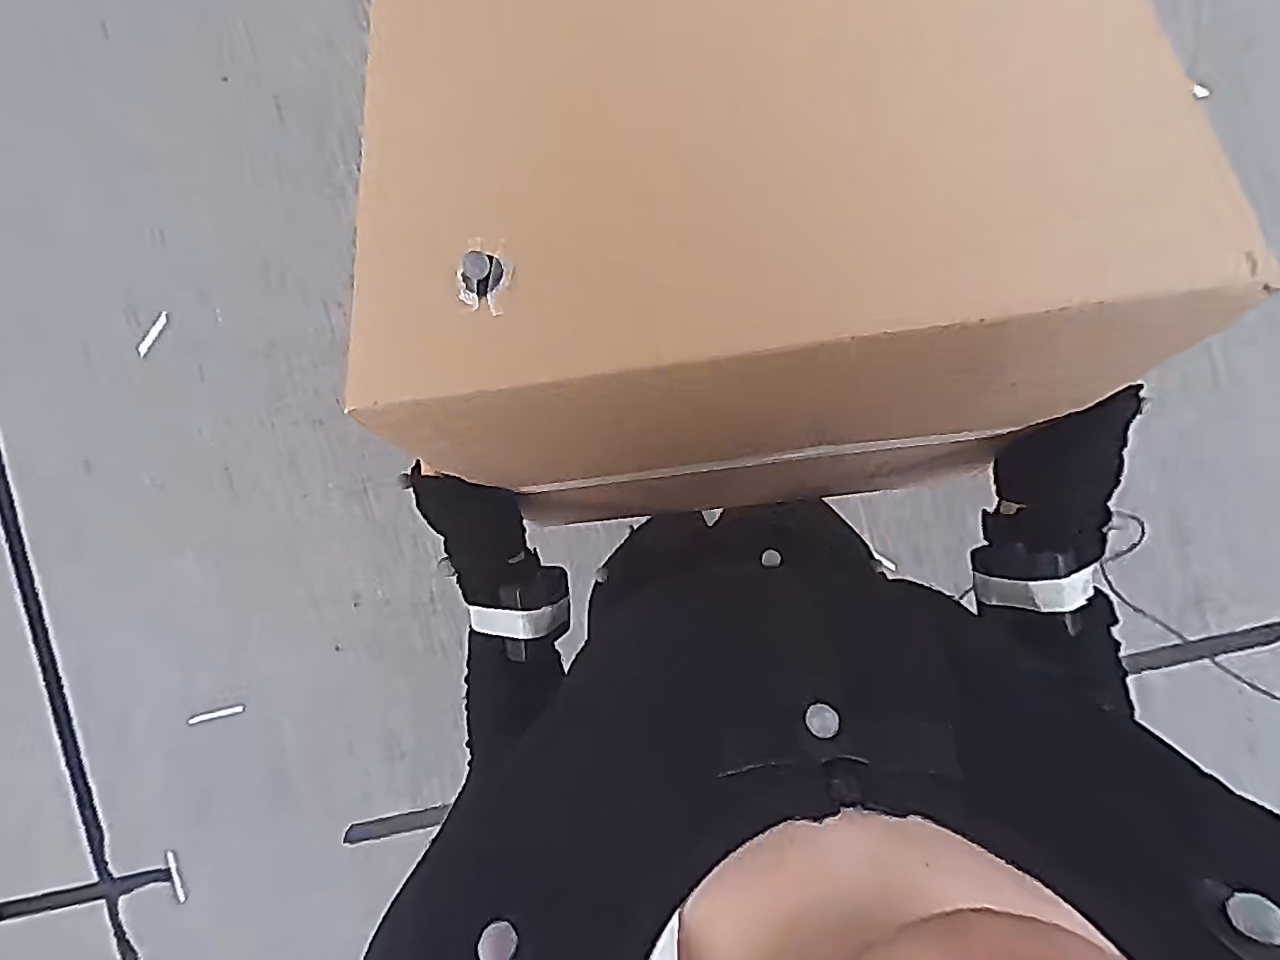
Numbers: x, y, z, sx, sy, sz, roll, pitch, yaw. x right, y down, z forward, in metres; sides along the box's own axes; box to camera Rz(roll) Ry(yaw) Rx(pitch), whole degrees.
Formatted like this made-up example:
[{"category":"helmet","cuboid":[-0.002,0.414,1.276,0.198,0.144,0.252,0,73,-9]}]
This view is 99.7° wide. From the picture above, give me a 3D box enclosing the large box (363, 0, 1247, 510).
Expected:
[{"category":"large box","cuboid":[0.063,-0.176,0.427,0.408,0.320,0.320,-6,75,5]}]
